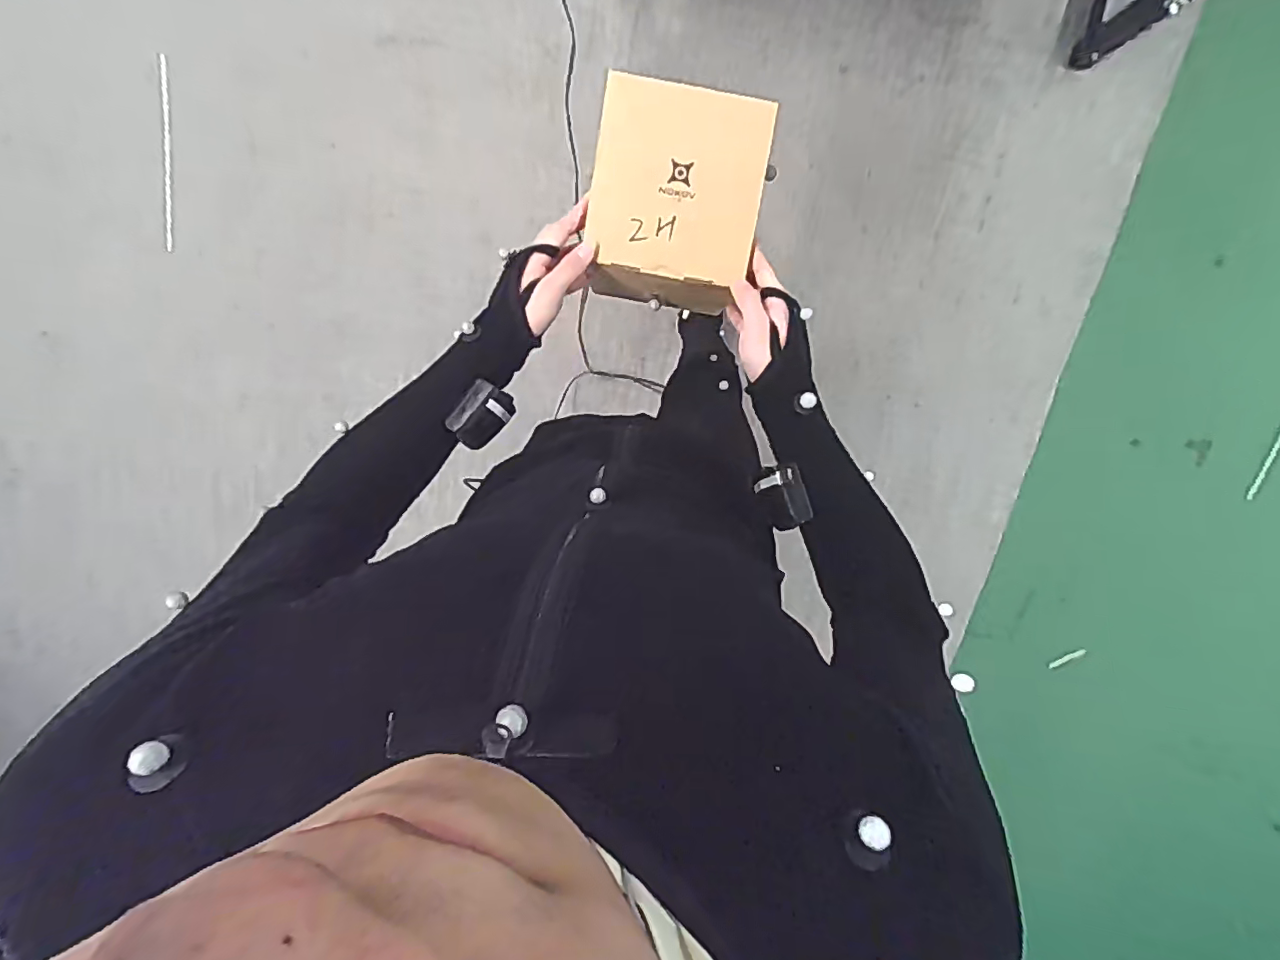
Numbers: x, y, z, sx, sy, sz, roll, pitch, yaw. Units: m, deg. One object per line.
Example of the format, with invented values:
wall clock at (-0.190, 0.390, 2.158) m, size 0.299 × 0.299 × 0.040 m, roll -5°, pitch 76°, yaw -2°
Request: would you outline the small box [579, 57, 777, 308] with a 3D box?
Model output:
small box at (0.033, -0.304, 0.593) m, size 0.168 × 0.176 × 0.179 m, roll 10°, pitch 98°, yaw -2°
